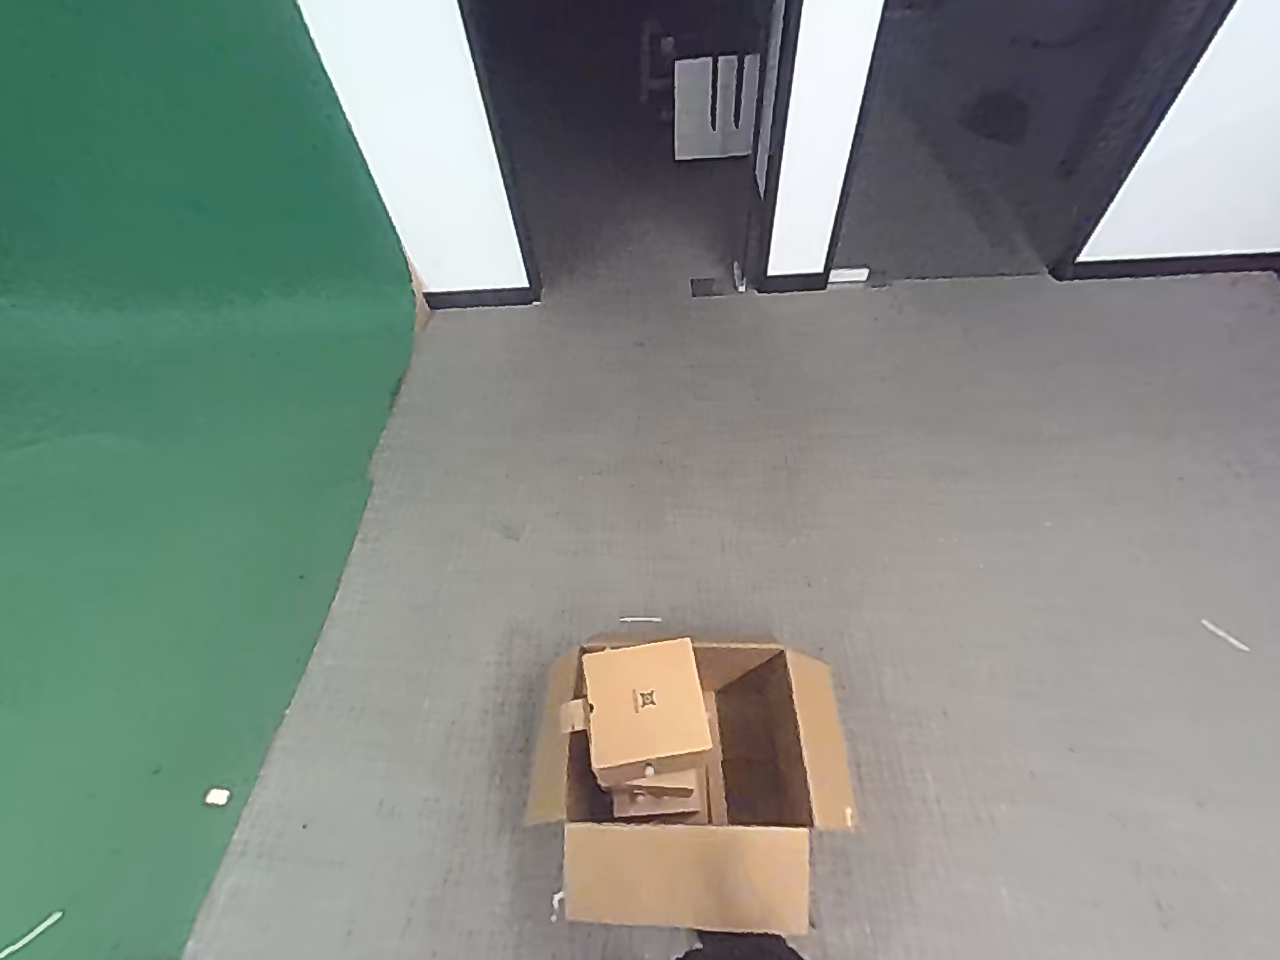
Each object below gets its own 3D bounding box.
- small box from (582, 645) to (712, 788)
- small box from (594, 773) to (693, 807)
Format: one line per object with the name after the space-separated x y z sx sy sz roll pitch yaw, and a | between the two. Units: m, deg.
0.007 0.382 0.868 0.179 0.176 0.168 -8 54 -4 | small box
0.011 0.485 0.993 0.168 0.176 0.179 3 55 3 | small box
